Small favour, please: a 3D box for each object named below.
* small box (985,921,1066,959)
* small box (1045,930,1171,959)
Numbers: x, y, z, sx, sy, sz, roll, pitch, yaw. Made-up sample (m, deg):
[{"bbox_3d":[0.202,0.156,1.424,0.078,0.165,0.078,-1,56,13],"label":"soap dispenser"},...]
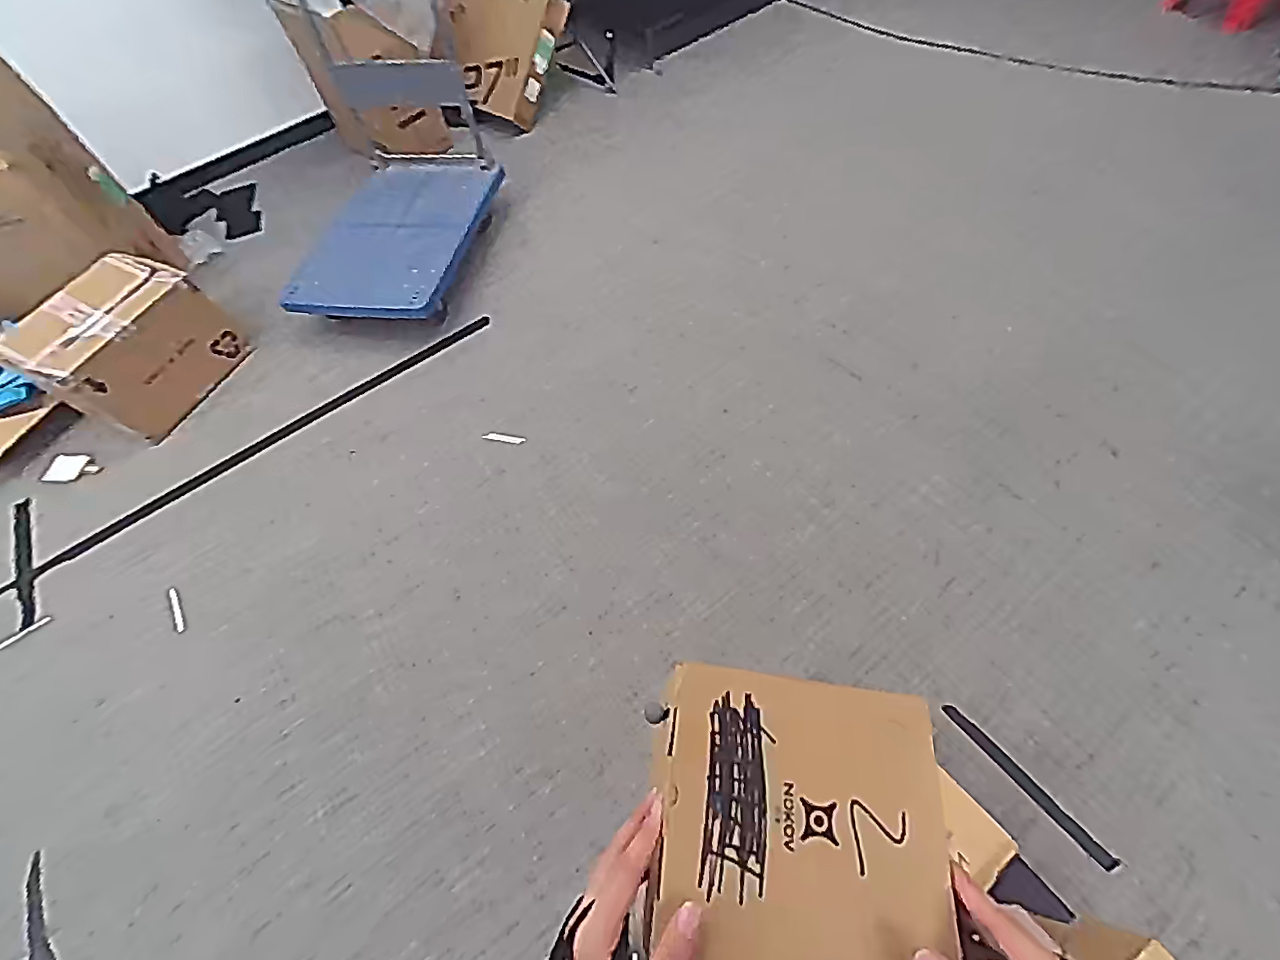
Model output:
[{"bbox_3d":[0.617,0.795,0.788,0.179,0.176,0.168,-37,61,-14],"label":"small box"},{"bbox_3d":[0.607,0.699,0.654,0.168,0.176,0.179,-31,59,-11],"label":"small box"}]
